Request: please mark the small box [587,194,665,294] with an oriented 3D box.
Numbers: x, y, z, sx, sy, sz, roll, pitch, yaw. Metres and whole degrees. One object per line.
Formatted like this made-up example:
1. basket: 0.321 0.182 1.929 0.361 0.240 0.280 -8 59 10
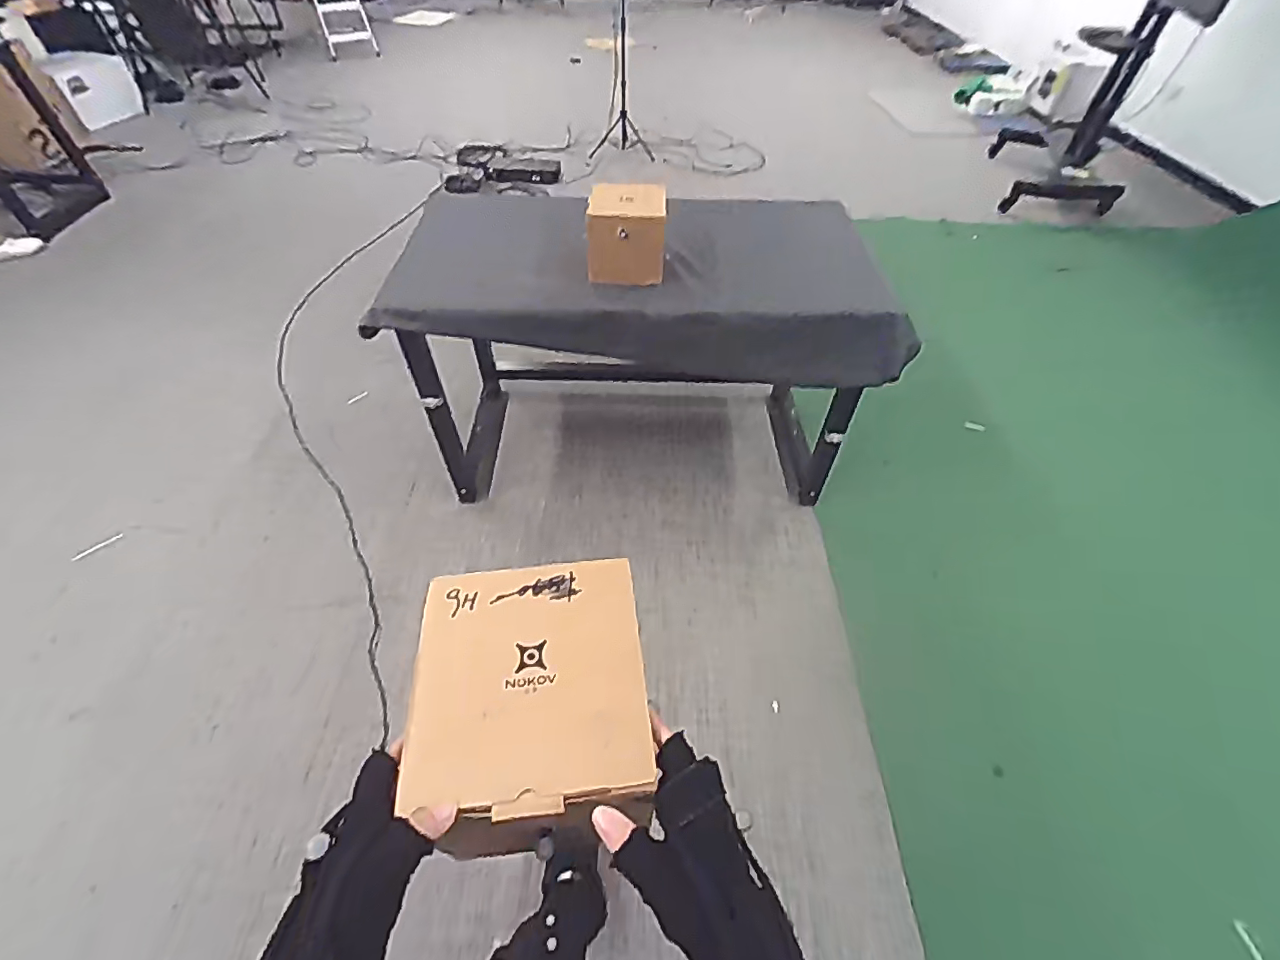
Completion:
1. small box: -0.032 -0.567 1.303 0.179 0.176 0.168 3 49 -1
